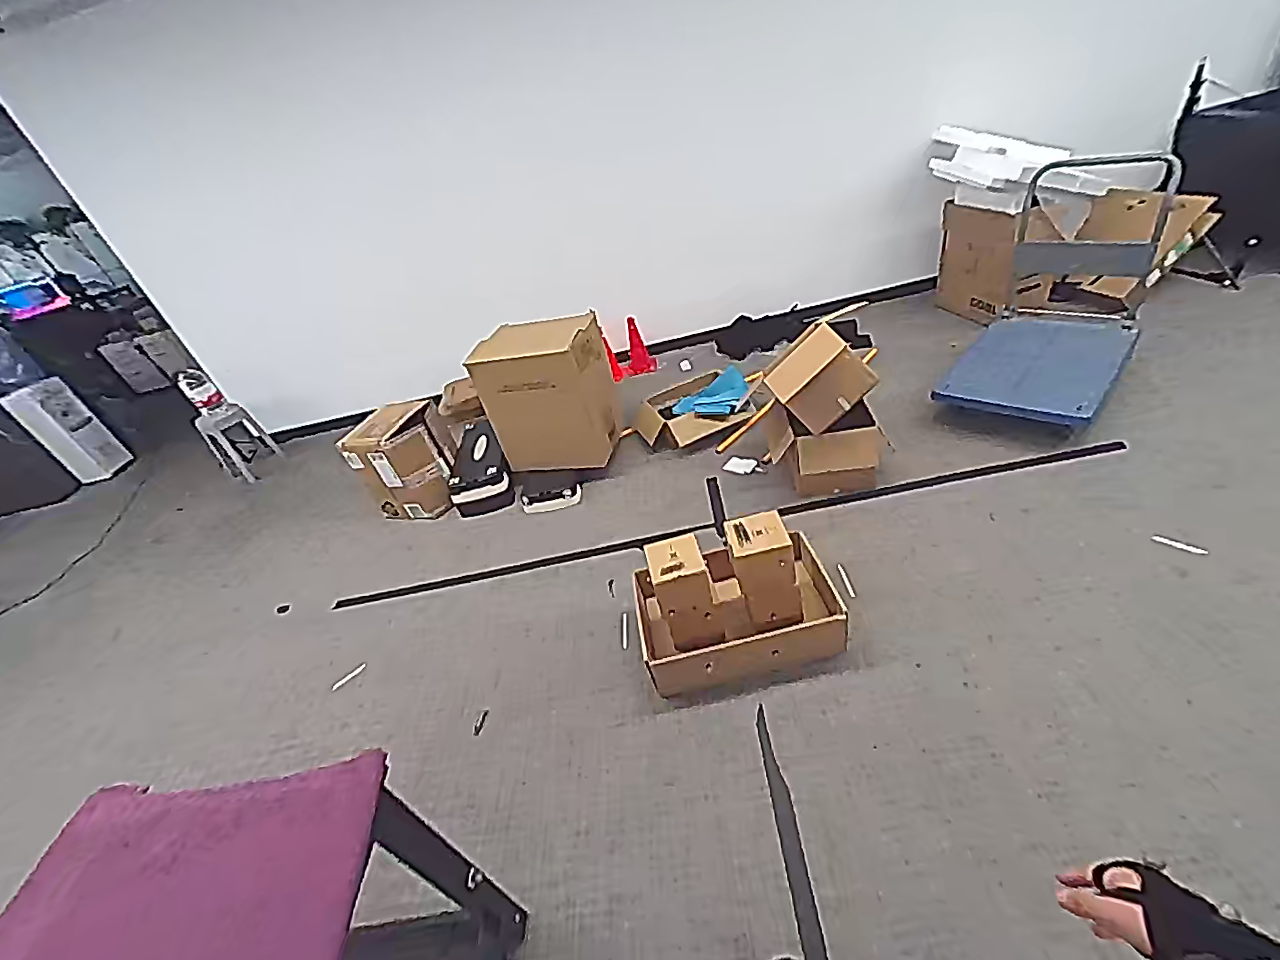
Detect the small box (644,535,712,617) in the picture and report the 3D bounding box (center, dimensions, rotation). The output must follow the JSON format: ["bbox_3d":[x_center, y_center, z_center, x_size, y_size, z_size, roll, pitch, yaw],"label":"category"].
[{"bbox_3d":[0.119,0.306,1.684,0.168,0.176,0.179,-15,34,-1],"label":"small box"}]

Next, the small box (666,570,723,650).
[{"bbox_3d":[0.170,0.429,1.783,0.179,0.176,0.168,-15,34,0],"label":"small box"}]

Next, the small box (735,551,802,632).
[{"bbox_3d":[0.421,0.366,1.776,0.168,0.176,0.179,-15,35,3],"label":"small box"}]
